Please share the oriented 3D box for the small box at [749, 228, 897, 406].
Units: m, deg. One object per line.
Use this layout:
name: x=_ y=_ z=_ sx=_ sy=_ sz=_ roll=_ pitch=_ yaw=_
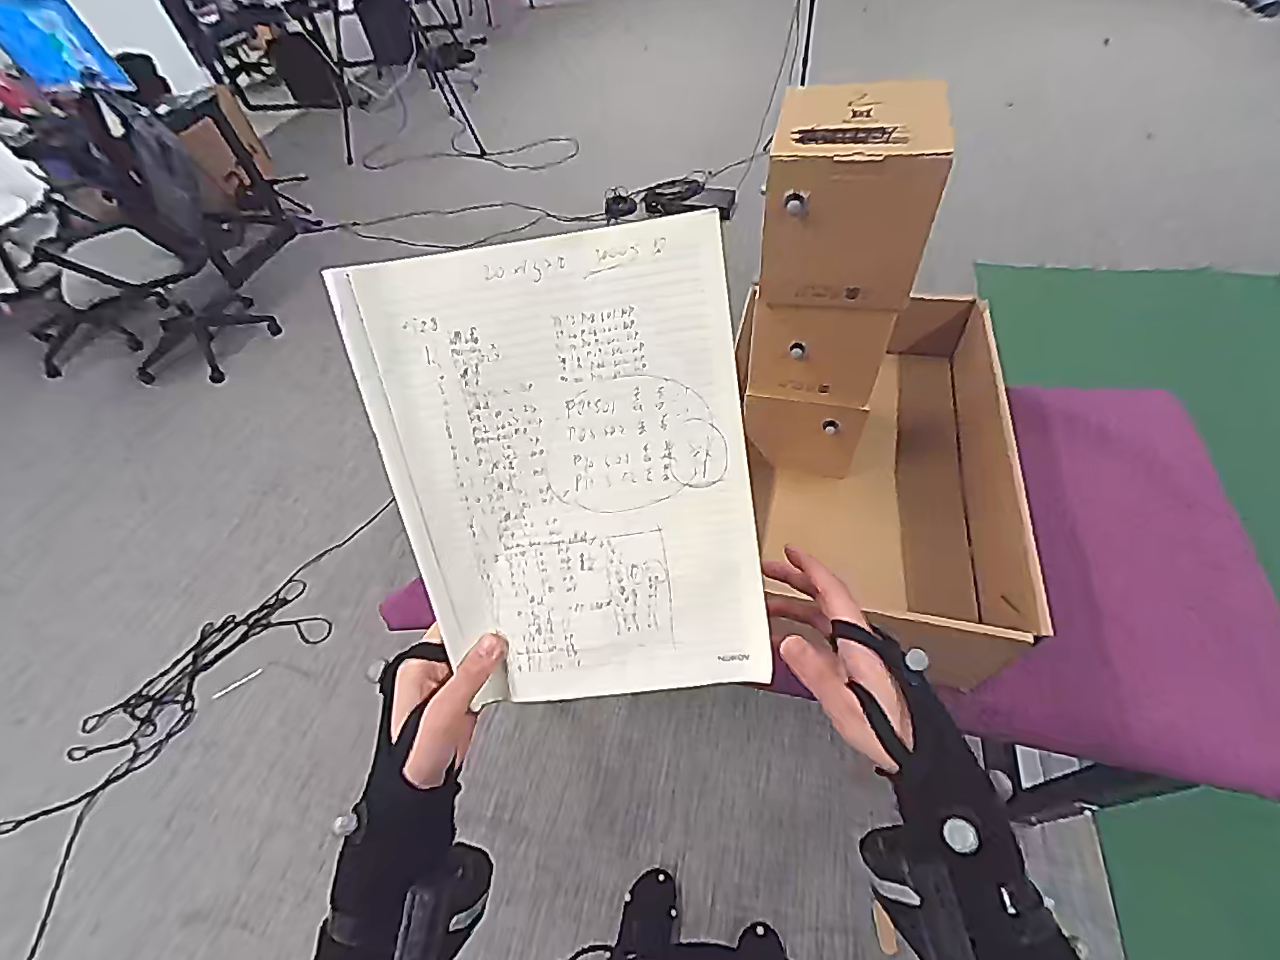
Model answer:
small box: x=0.248 y=-0.225 z=0.753 sx=0.168 sy=0.176 sz=0.179 roll=10 pitch=55 yaw=15
